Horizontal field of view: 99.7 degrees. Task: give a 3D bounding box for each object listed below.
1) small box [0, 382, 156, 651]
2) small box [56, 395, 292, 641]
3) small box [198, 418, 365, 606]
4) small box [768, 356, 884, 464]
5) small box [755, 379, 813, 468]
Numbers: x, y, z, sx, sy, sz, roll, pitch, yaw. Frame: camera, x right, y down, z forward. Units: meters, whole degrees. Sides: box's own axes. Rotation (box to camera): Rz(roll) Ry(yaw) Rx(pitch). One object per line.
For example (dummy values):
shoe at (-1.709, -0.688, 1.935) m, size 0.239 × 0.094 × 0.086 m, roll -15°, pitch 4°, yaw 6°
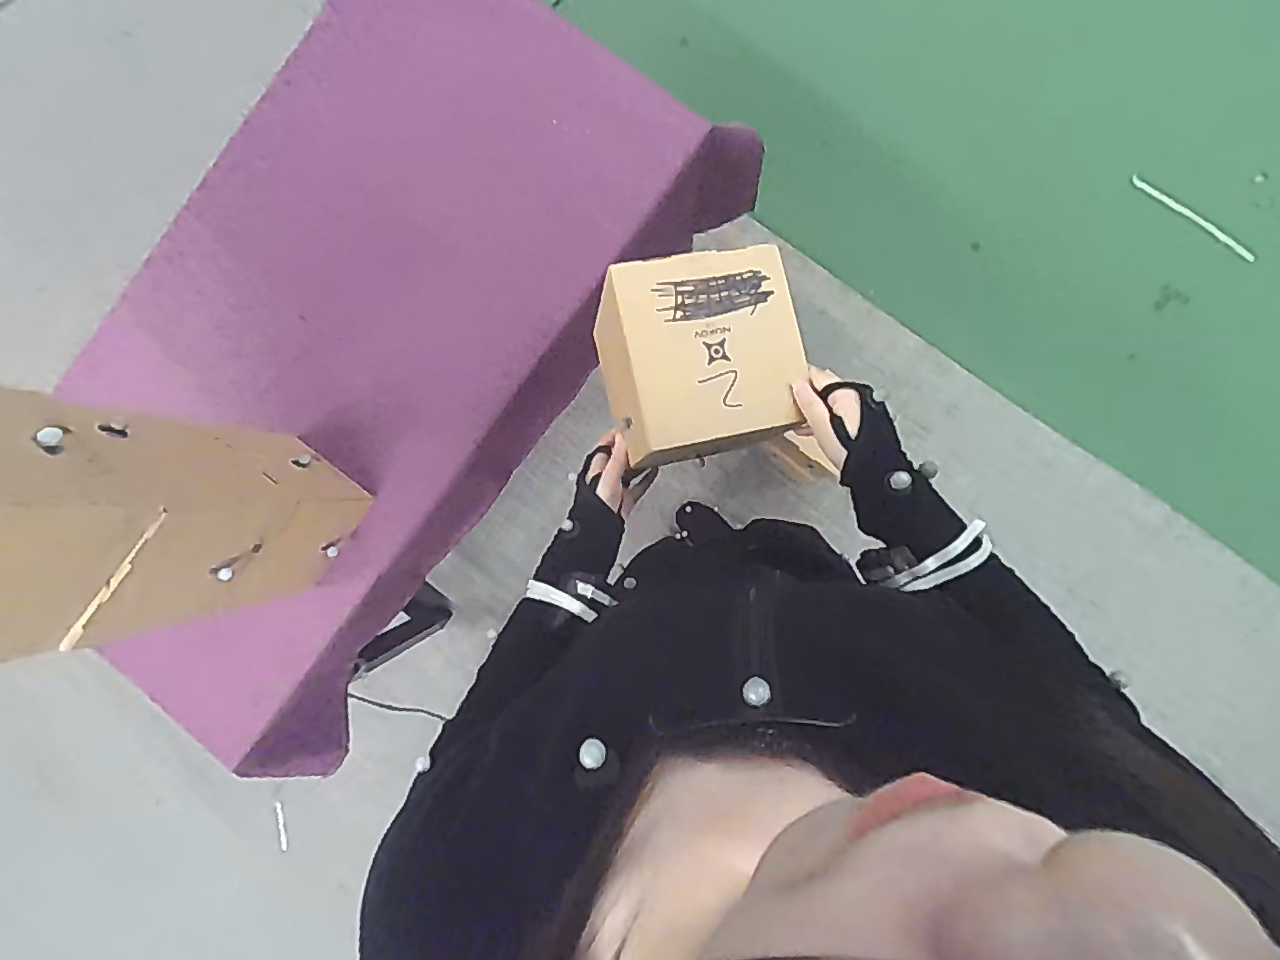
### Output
small box at (-0.543, 0.030, 0.413) m, size 0.168 × 0.176 × 0.179 m, roll 39°, pitch 92°, yaw 3°
small box at (-0.533, 0.035, 0.577) m, size 0.179 × 0.176 × 0.168 m, roll 37°, pitch 93°, yaw 3°
small box at (-0.516, 0.039, 0.741) m, size 0.168 × 0.176 × 0.179 m, roll 36°, pitch 92°, yaw 4°
small box at (0.413, -0.150, 1.242) m, size 0.168 × 0.176 × 0.179 m, roll 38°, pitch 91°, yaw 2°
small box at (0.418, -0.145, 1.406) m, size 0.168 × 0.176 × 0.179 m, roll 41°, pitch 92°, yaw 3°
